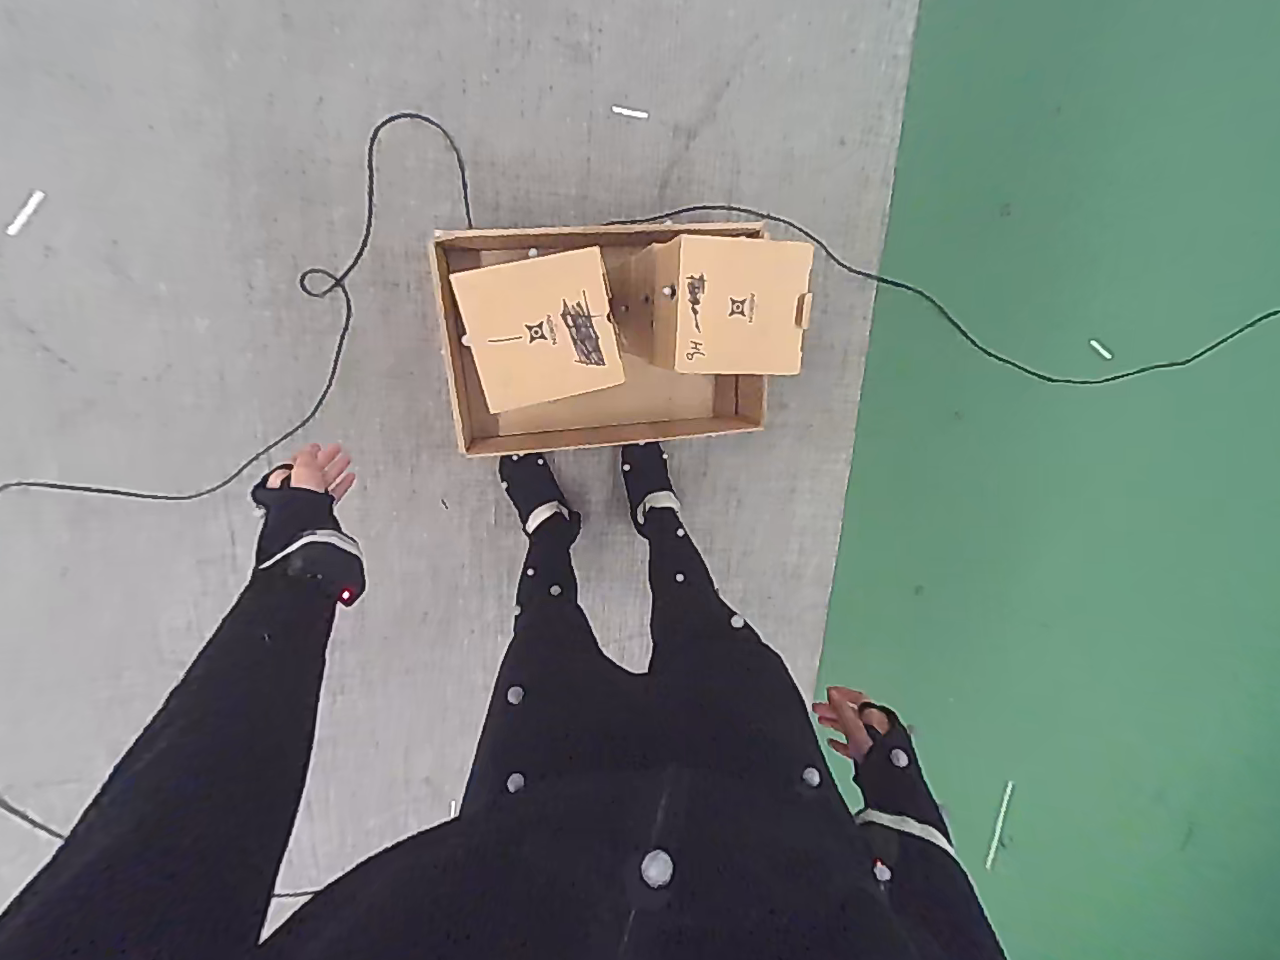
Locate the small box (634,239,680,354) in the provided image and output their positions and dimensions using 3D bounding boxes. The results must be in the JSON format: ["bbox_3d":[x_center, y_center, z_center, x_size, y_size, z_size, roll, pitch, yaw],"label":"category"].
[{"bbox_3d":[0.083,-0.298,0.908,0.168,0.176,0.179,-4,107,-9],"label":"small box"}]

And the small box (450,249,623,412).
[{"bbox_3d":[-0.135,-0.201,0.720,0.179,0.176,0.168,-14,109,-8],"label":"small box"}]

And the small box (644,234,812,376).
[{"bbox_3d":[0.112,-0.239,0.756,0.179,0.176,0.168,-1,106,-11],"label":"small box"}]
